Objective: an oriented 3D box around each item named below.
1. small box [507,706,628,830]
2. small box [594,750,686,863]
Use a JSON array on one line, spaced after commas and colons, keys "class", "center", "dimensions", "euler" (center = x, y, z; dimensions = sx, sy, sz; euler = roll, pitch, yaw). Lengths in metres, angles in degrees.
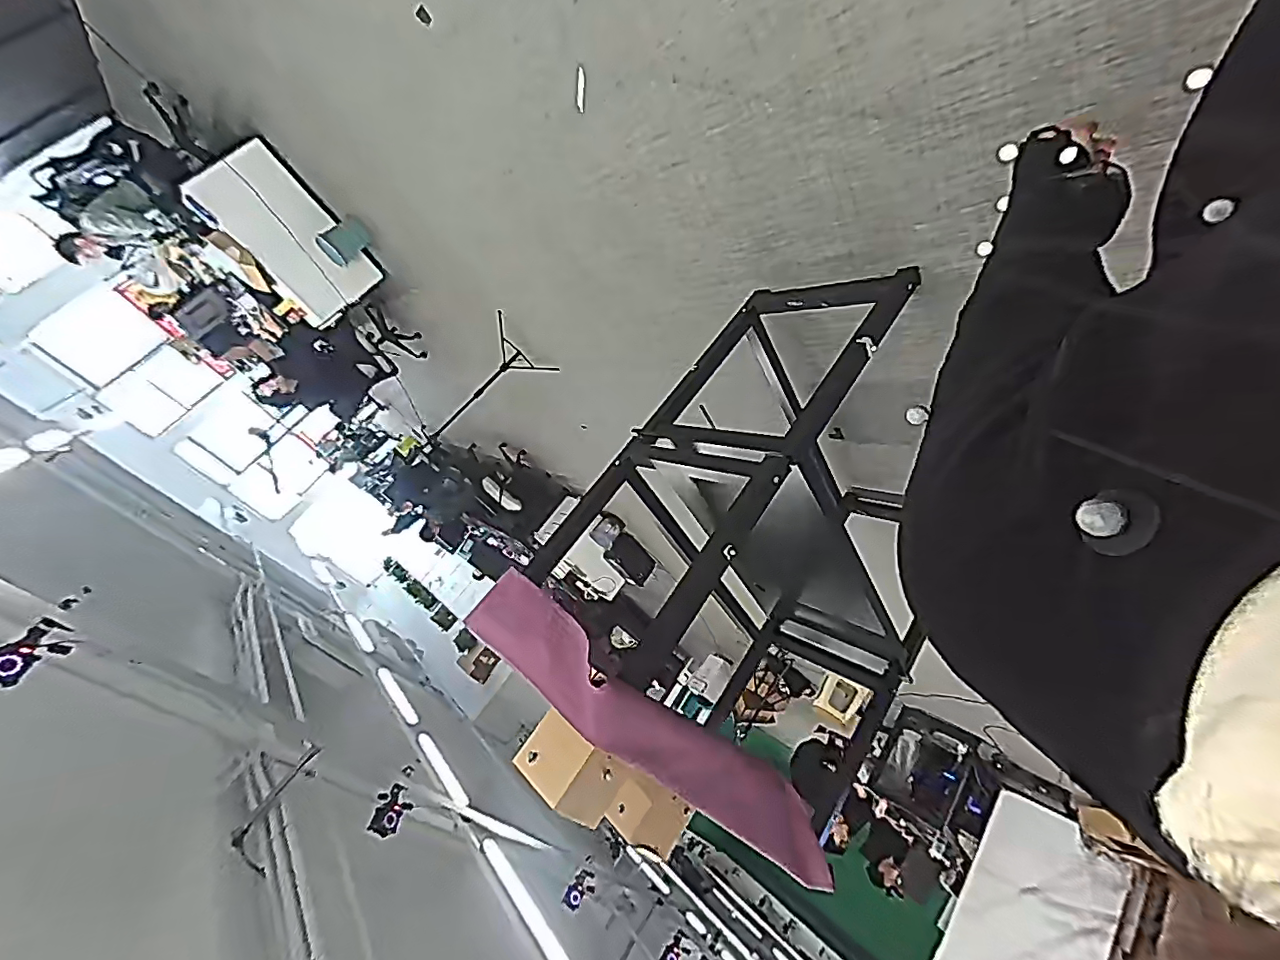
[{"class": "small box", "center": [-0.161, 0.644, 1.231], "dimensions": [0.179, 0.176, 0.168], "euler": [17, 153, 46]}, {"class": "small box", "center": [0.000, 0.855, 1.430], "dimensions": [0.179, 0.176, 0.168], "euler": [11, 147, 54]}]
